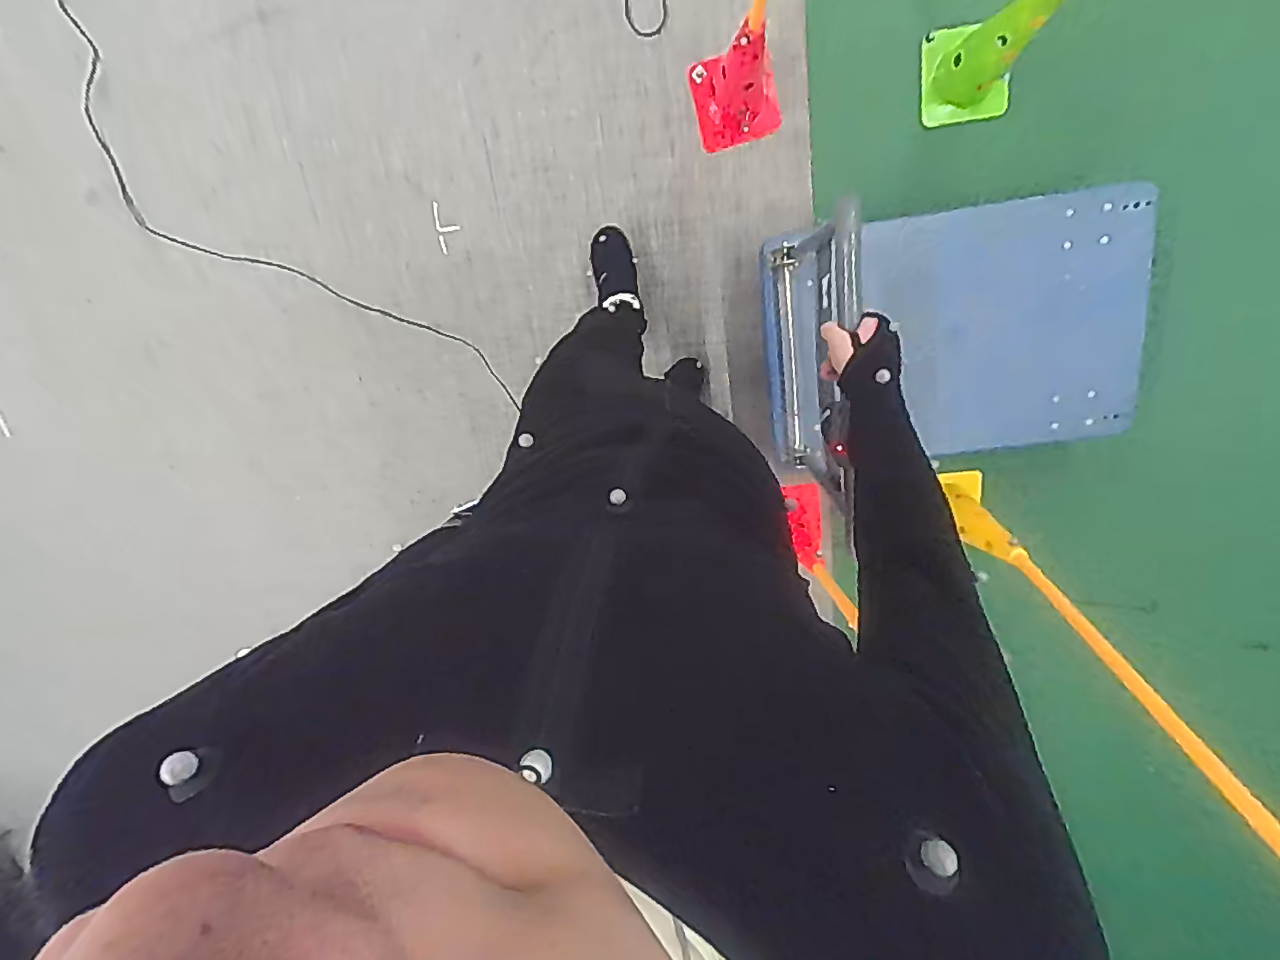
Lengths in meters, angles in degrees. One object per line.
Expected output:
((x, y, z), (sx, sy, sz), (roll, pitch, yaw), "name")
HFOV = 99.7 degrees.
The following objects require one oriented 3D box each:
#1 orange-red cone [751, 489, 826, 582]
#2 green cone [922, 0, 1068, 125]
((0.429, 0.174, 1.442), (0.199, 0.360, 0.198), (-7, 106, 3), "orange-red cone")
((0.763, -0.920, 1.114), (0.202, 0.368, 0.200), (-7, 104, 4), "green cone")
